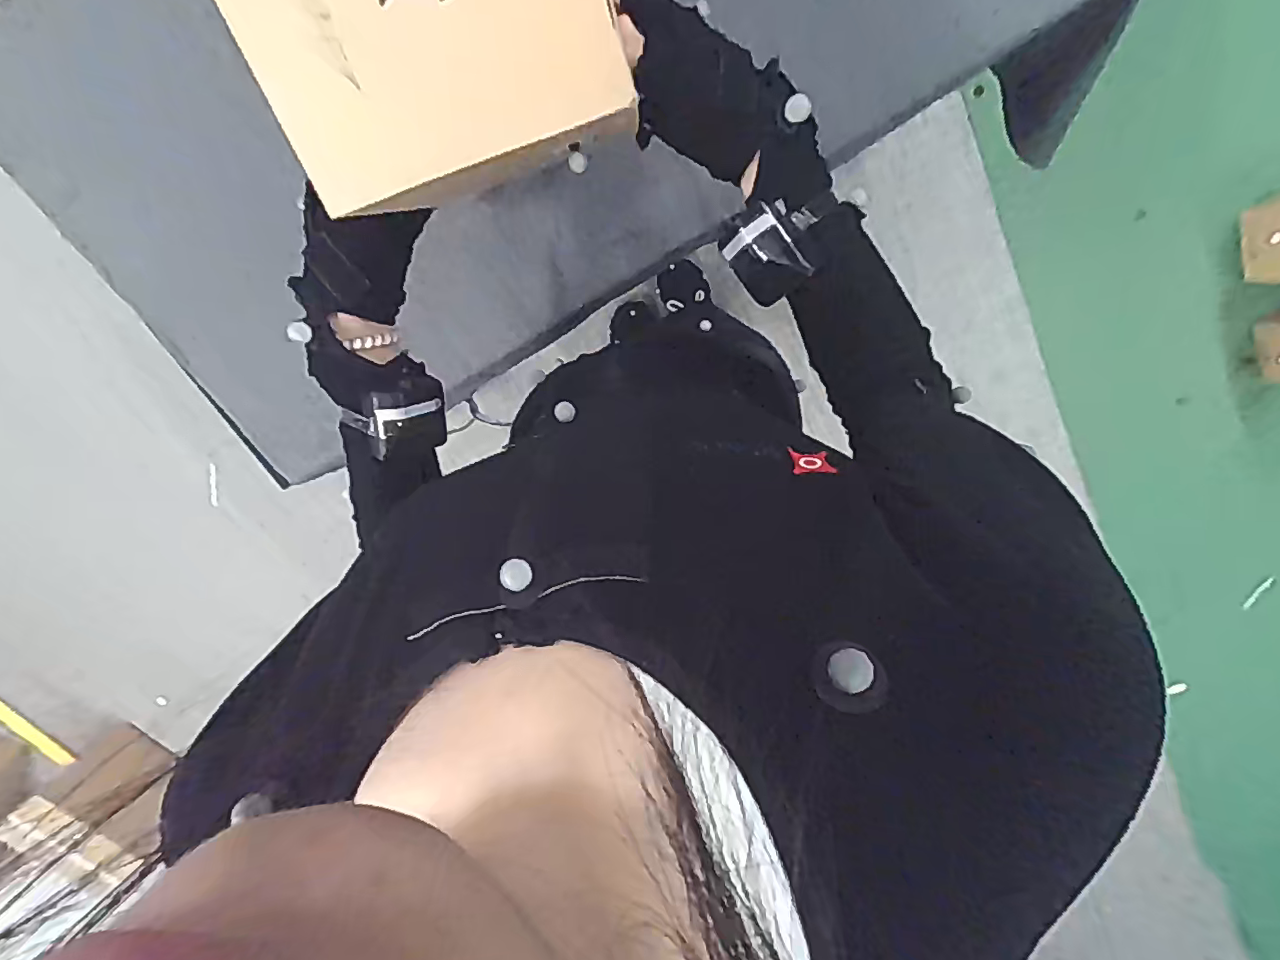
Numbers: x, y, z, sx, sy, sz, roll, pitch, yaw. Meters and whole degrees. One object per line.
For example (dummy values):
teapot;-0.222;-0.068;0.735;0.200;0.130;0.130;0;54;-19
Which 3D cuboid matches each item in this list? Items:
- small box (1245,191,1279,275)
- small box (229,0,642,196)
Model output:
small box;1.473;-0.554;1.166;0.179;0.176;0.168;-23;108;11
small box;-0.105;-0.277;0.307;0.179;0.176;0.168;-15;117;7
